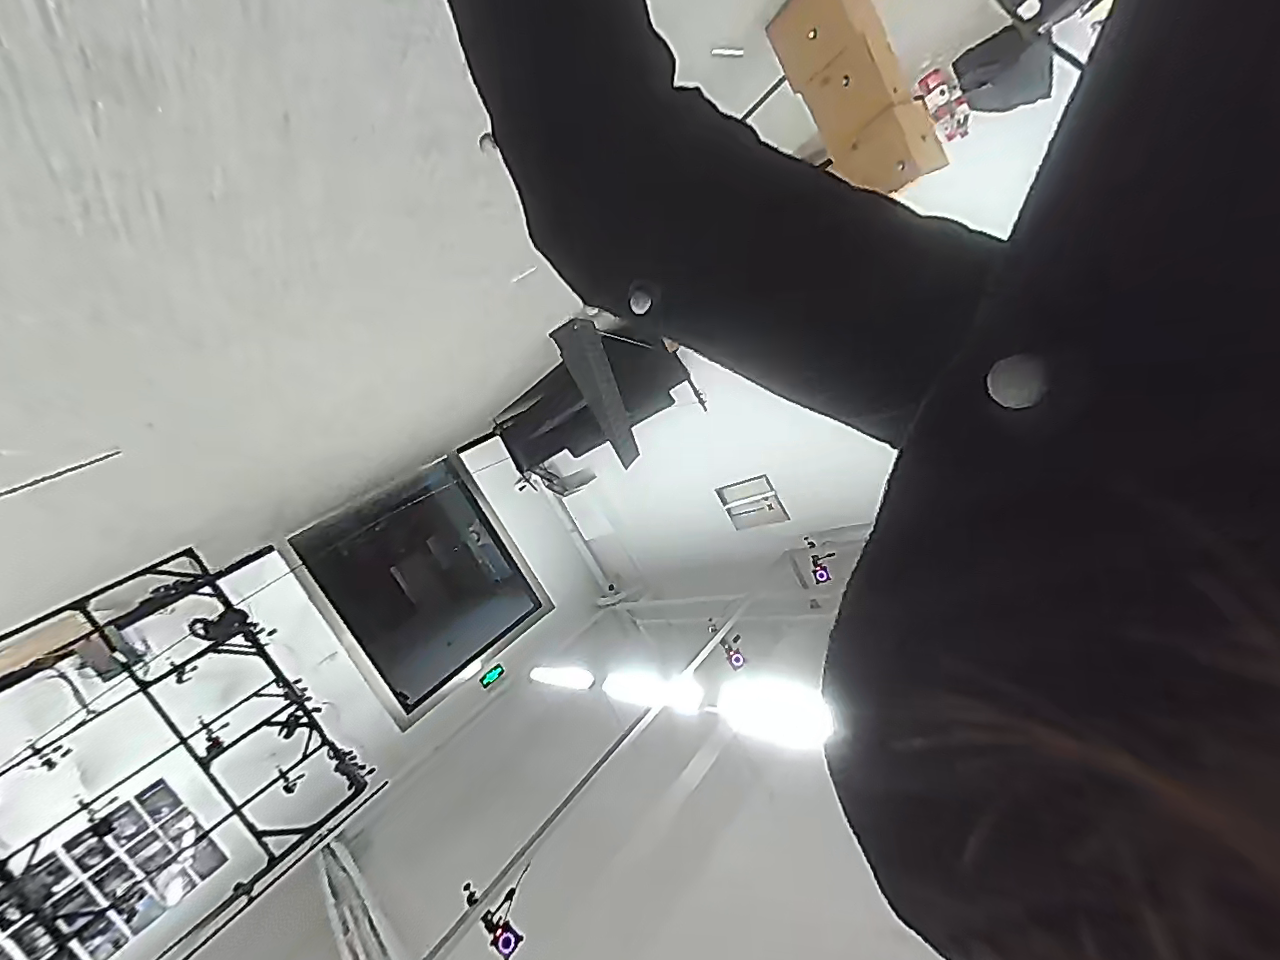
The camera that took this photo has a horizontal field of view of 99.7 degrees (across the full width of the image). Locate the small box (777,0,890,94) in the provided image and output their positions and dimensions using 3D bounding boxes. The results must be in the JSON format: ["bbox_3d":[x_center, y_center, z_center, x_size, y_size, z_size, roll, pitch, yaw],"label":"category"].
[{"bbox_3d":[0.449,-1.061,1.281,0.168,0.176,0.179,-35,-171,-35],"label":"small box"}]

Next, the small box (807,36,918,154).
[{"bbox_3d":[0.538,-0.927,1.308,0.179,0.176,0.168,-35,-170,-40],"label":"small box"}]
